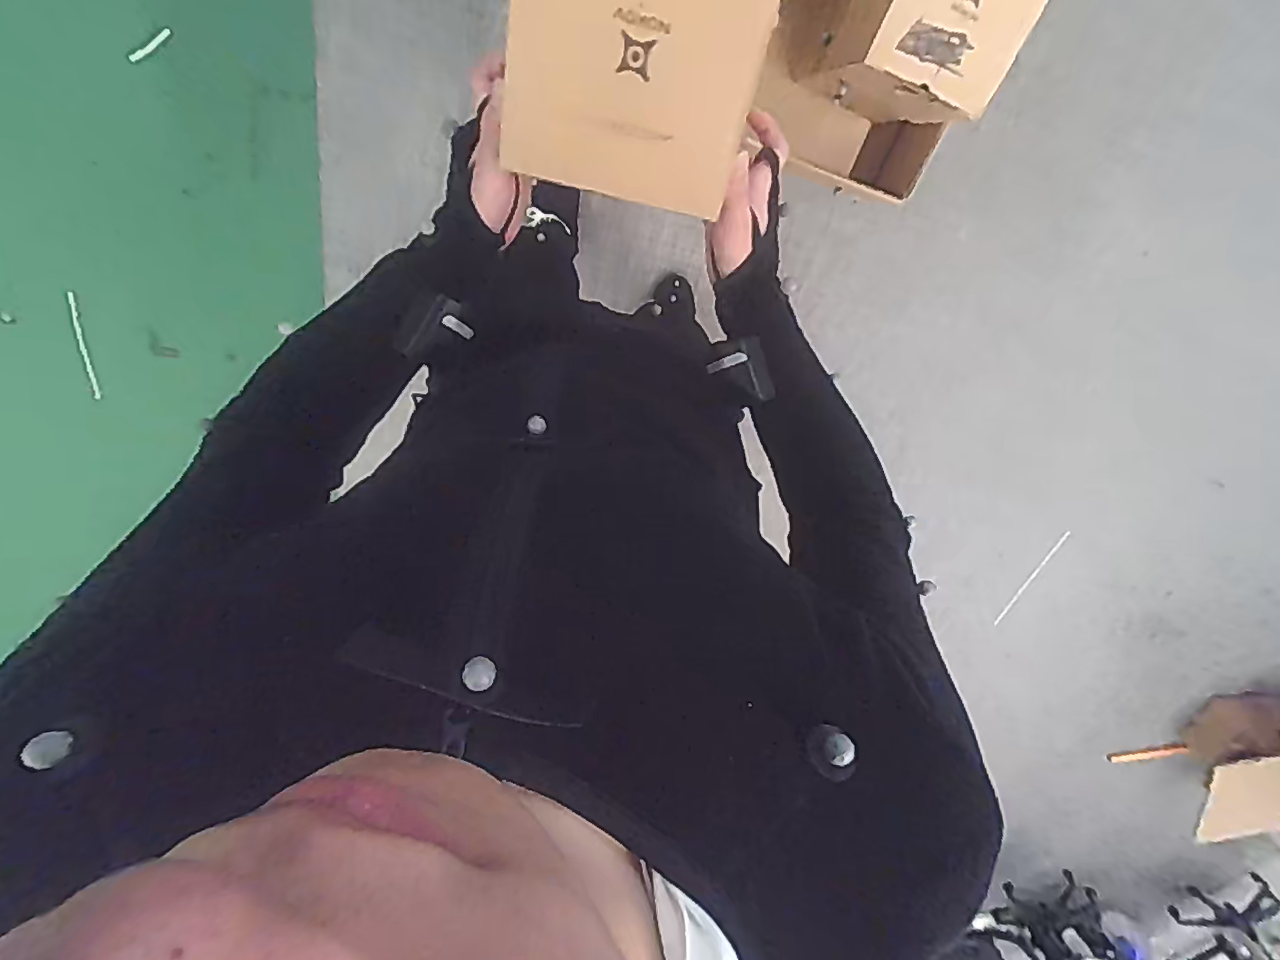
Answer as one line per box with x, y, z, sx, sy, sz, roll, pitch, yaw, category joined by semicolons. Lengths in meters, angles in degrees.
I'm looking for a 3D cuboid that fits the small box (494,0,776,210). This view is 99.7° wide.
-0.004;-0.330;0.407;0.168;0.176;0.179;11;125;-7;small box

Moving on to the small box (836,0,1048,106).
0.360;-0.575;0.646;0.168;0.176;0.179;16;121;-12;small box
